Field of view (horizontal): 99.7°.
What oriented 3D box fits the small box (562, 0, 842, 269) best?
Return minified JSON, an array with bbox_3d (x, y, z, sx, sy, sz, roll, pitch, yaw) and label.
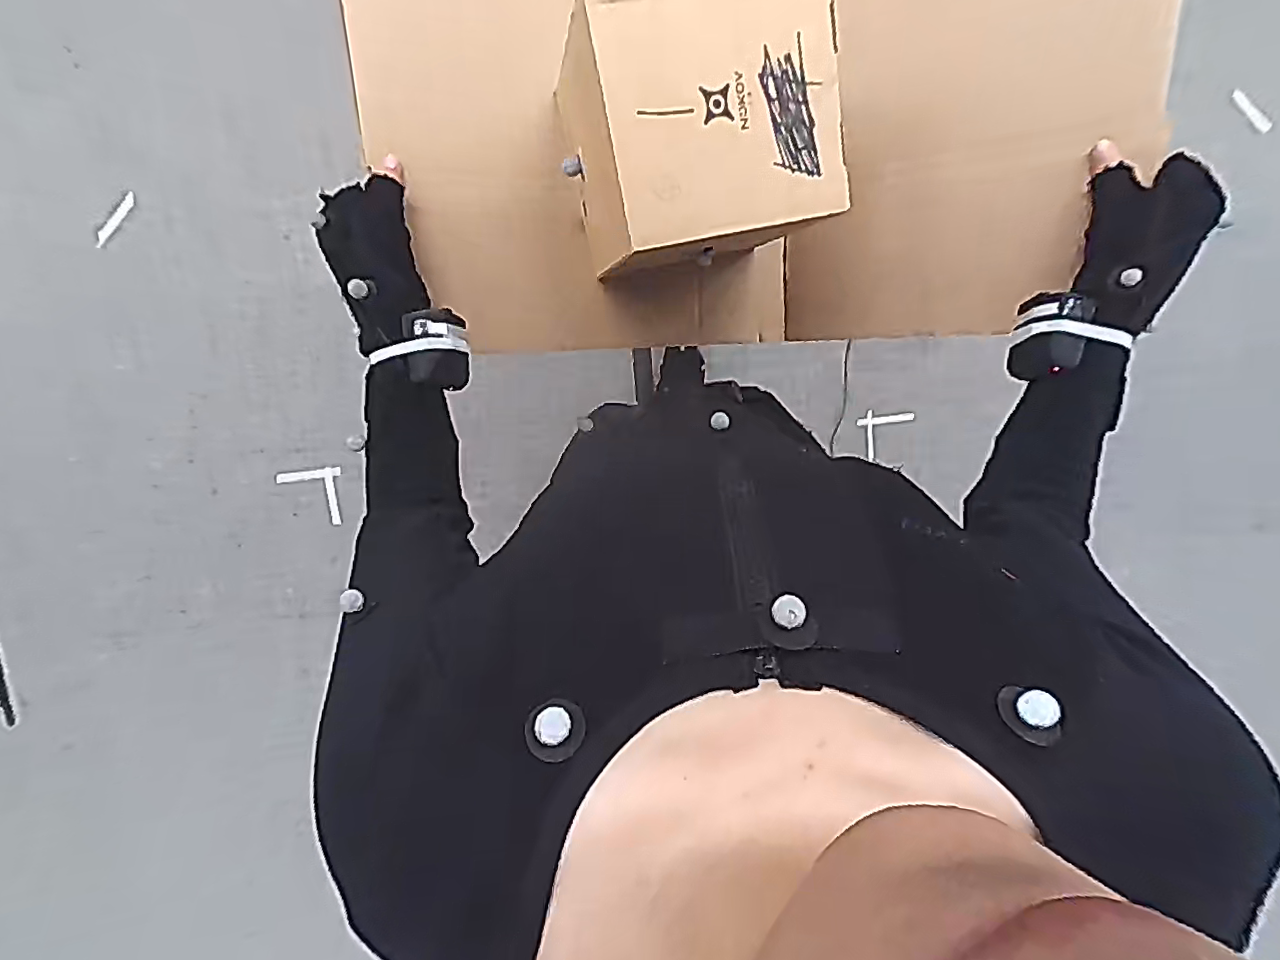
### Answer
[{"bbox_3d":[0.042,-0.287,0.458,0.179,0.176,0.168,-15,106,-10],"label":"small box"}]
